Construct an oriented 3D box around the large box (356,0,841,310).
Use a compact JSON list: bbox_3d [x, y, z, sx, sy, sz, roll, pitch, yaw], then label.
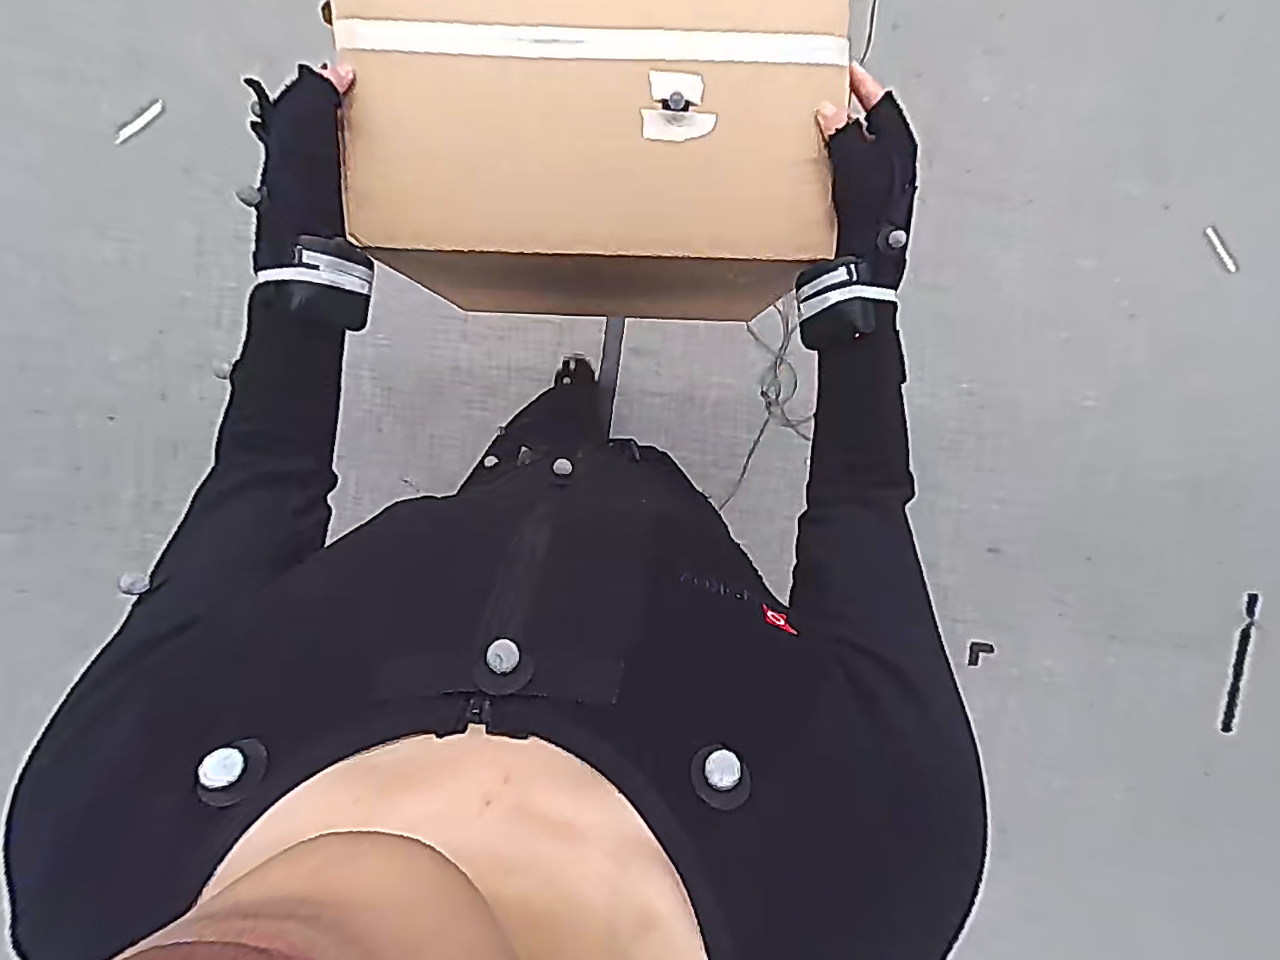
[{"bbox_3d":[-0.039,-0.373,0.594,0.408,0.320,0.320,1,98,-2],"label":"large box"}]
